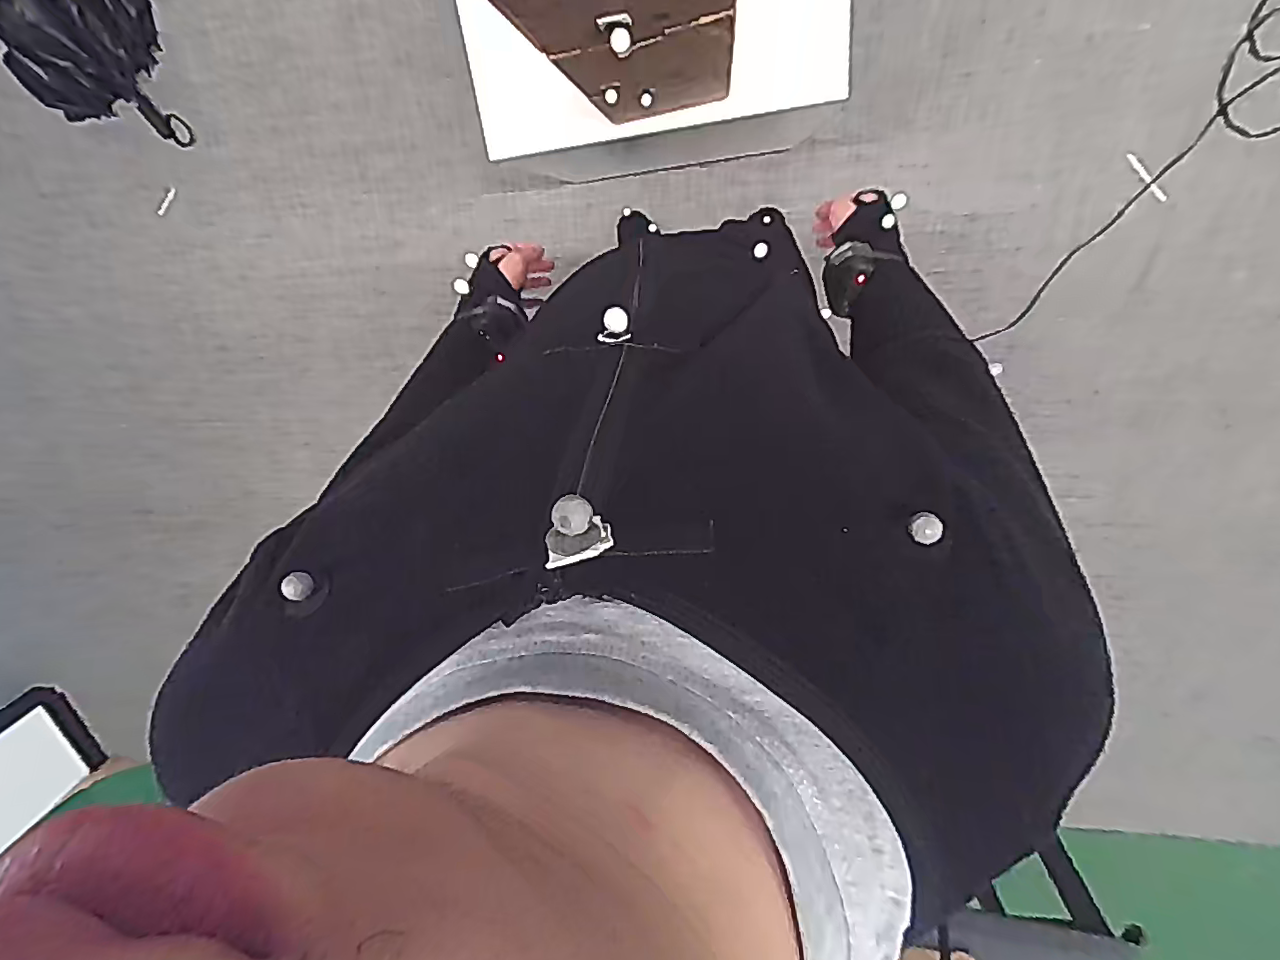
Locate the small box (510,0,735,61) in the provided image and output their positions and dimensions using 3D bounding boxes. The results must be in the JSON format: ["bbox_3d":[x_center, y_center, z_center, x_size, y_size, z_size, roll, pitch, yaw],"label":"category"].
[{"bbox_3d":[-0.026,-0.414,0.346,0.168,0.176,0.179,-7,113,12],"label":"small box"}]

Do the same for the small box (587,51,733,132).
[{"bbox_3d":[0.016,-0.546,0.643,0.168,0.176,0.179,-7,112,12],"label":"small box"}]

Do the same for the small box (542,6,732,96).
[{"bbox_3d":[-0.005,-0.479,0.493,0.168,0.176,0.179,-7,112,11],"label":"small box"}]
